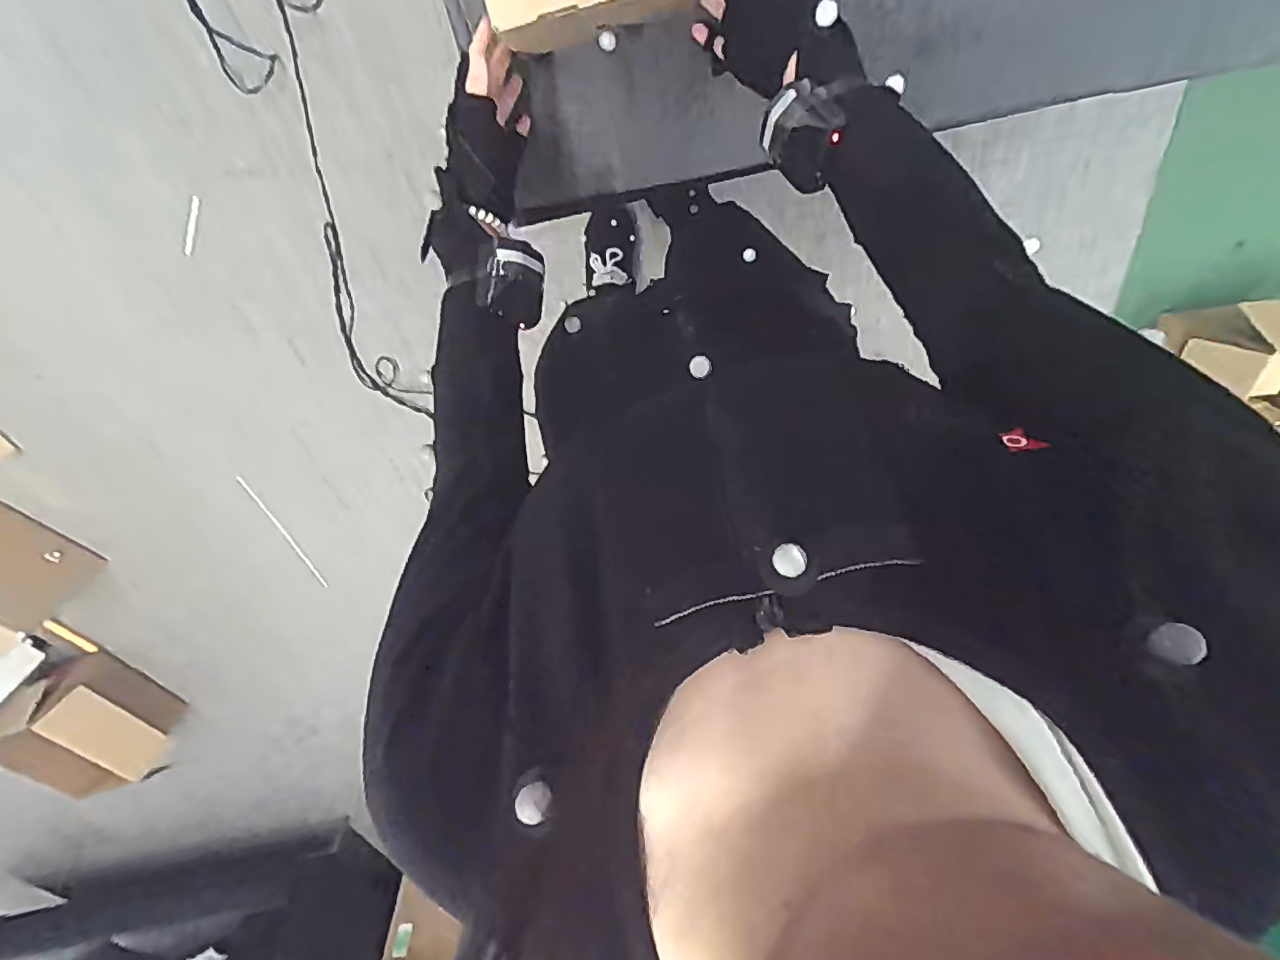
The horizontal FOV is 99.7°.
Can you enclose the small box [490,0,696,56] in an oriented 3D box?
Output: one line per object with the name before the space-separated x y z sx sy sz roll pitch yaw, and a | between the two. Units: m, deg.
small box | -0.043 -0.438 0.384 0.168 0.176 0.179 -14 122 4
